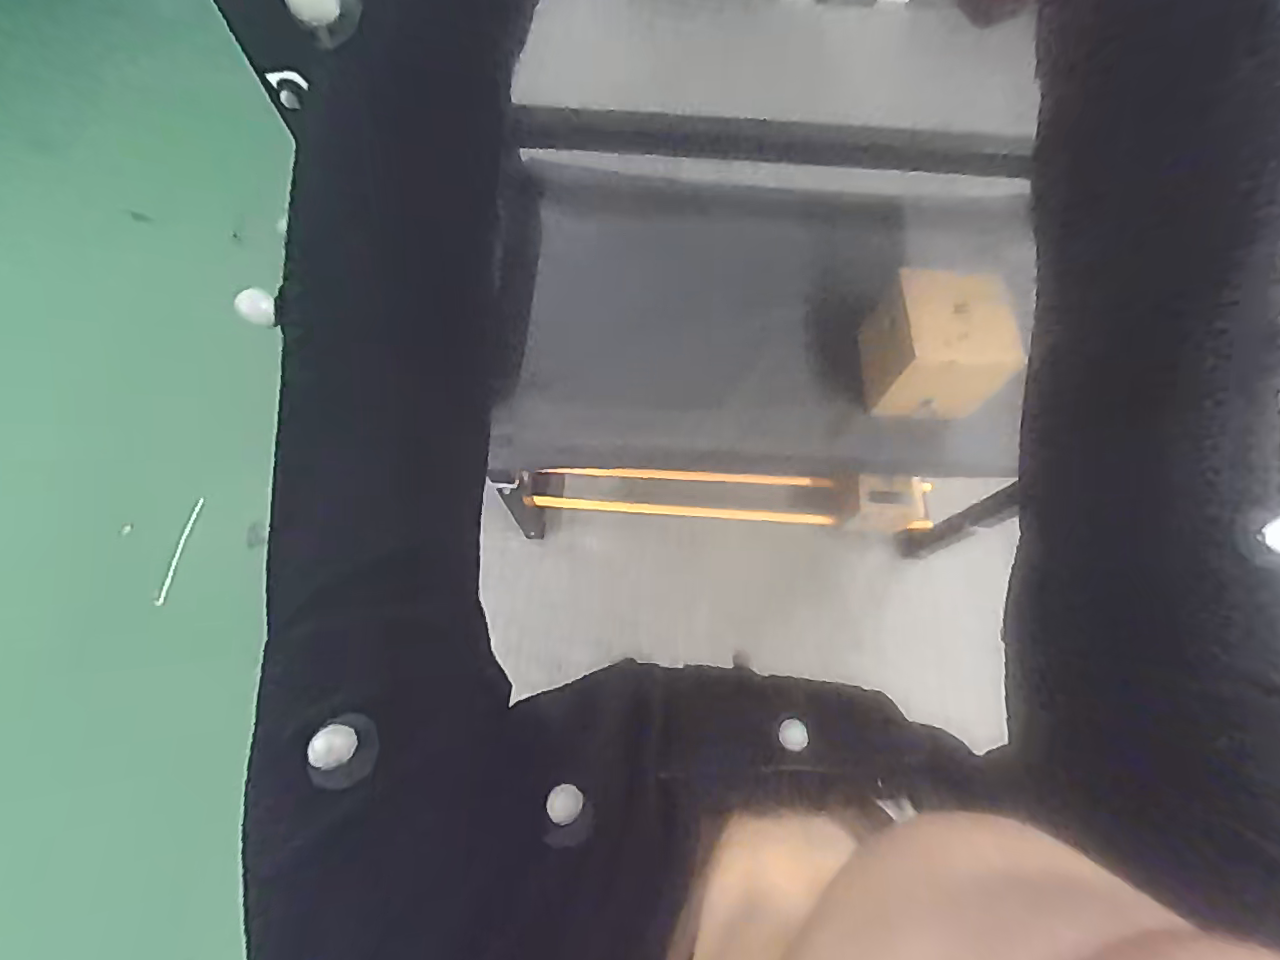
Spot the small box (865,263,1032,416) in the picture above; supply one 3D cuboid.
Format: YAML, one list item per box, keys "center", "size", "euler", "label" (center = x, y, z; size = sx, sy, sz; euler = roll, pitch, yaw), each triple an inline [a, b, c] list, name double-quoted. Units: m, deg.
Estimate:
- center: [0.486, -0.225, 0.885]
  size: [0.168, 0.176, 0.179]
  euler: [2, 66, 0]
  label: "small box"
